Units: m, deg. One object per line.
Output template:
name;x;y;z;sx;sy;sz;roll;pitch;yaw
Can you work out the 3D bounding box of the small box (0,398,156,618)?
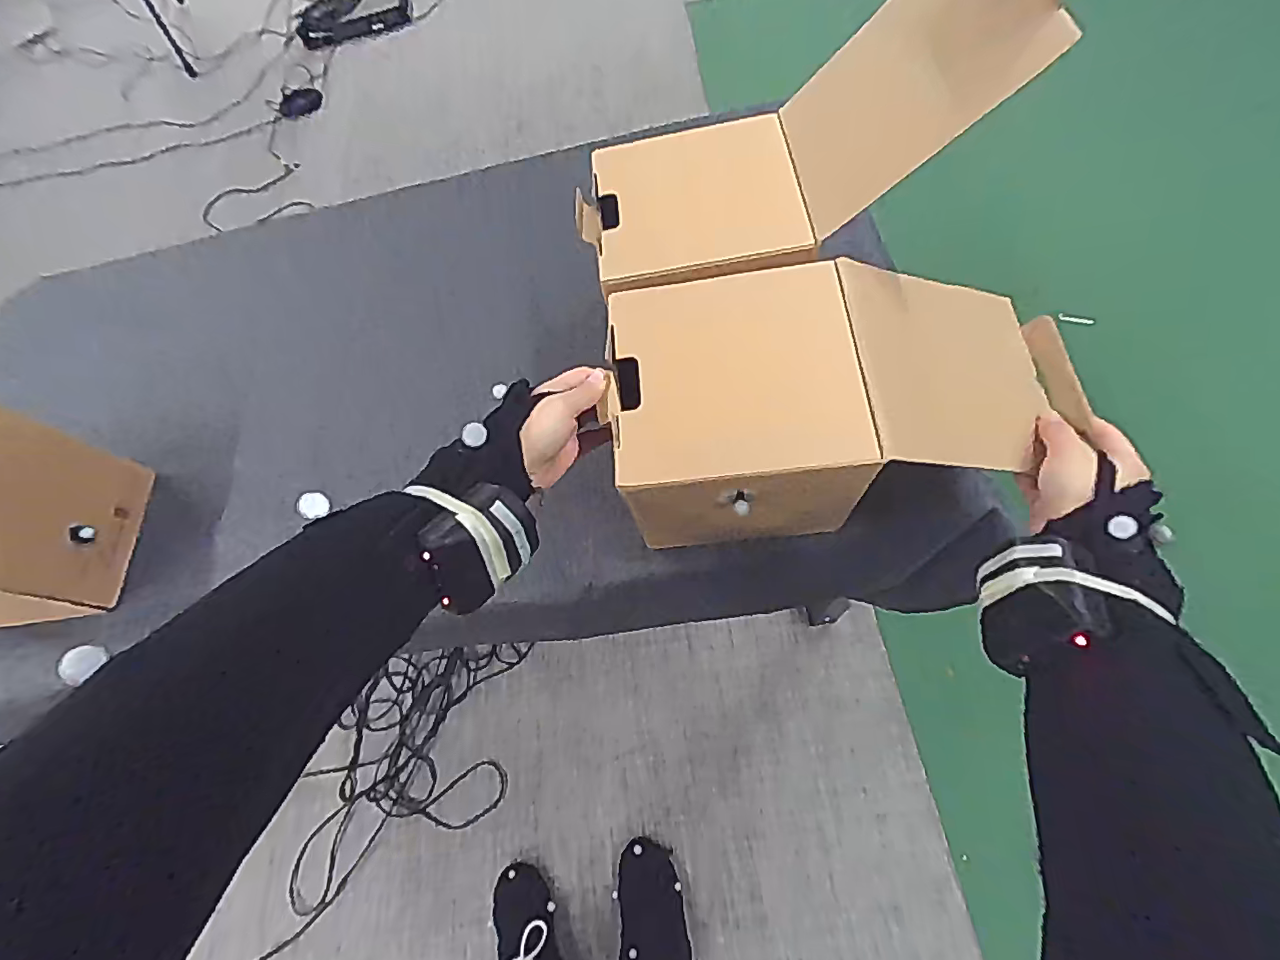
small box;-0.661;0.038;0.544;0.179;0.176;0.168;-9;65;5
